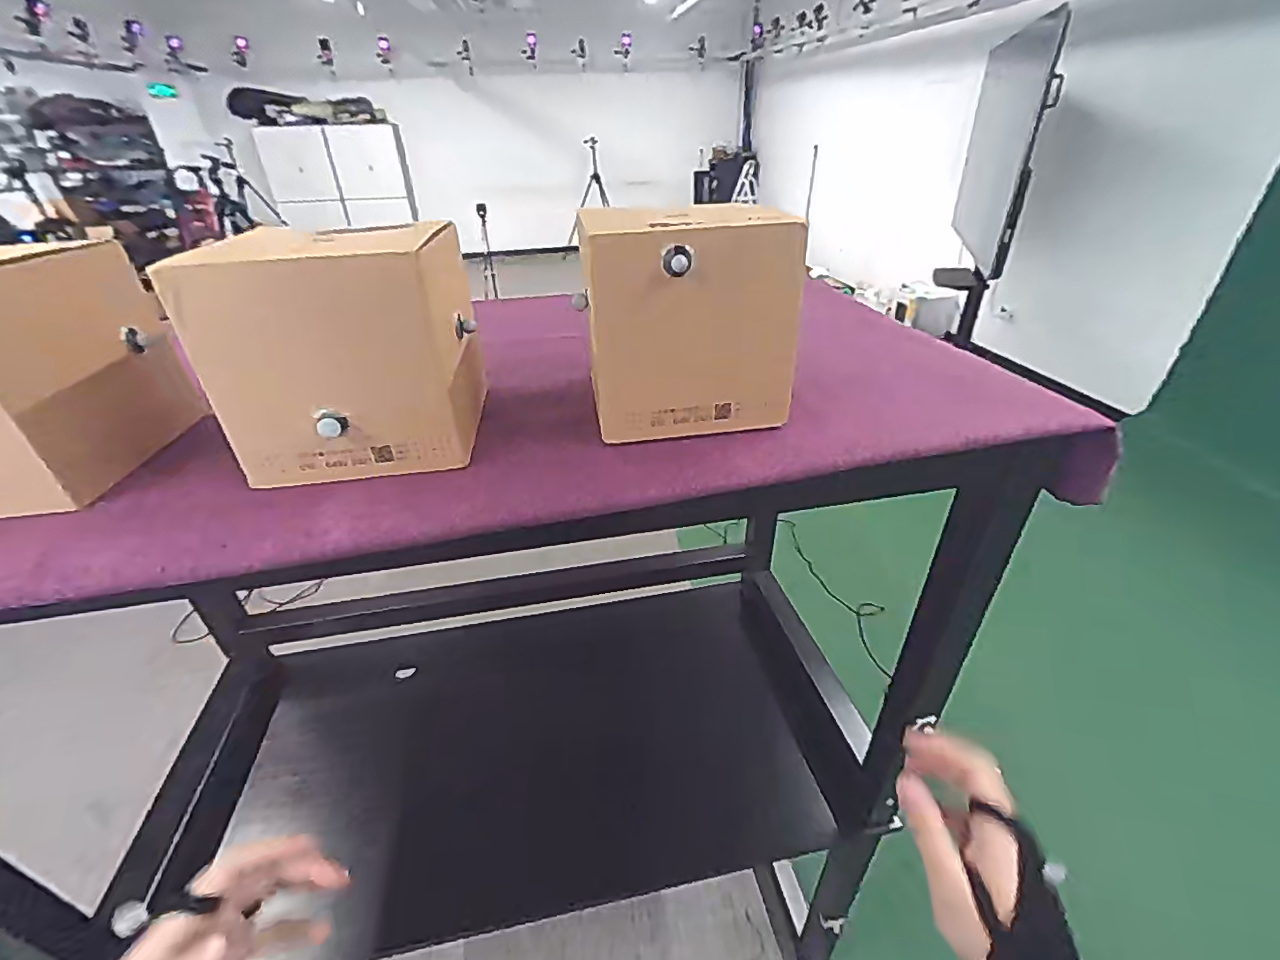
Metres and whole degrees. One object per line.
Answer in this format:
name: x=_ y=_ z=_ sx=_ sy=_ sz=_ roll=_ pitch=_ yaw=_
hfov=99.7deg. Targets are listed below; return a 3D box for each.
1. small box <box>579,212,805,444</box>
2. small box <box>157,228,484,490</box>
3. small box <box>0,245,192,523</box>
small box: x=0.034 y=-0.147 z=0.502 sx=0.168 sy=0.176 sz=0.179 roll=-6 pitch=31 yaw=-5
small box: x=-0.235 y=-0.110 z=0.460 sx=0.168 sy=0.176 sz=0.179 roll=-6 pitch=33 yaw=-6
small box: x=-0.508 y=-0.079 z=0.426 sx=0.168 sy=0.176 sz=0.179 roll=-6 pitch=33 yaw=-5
